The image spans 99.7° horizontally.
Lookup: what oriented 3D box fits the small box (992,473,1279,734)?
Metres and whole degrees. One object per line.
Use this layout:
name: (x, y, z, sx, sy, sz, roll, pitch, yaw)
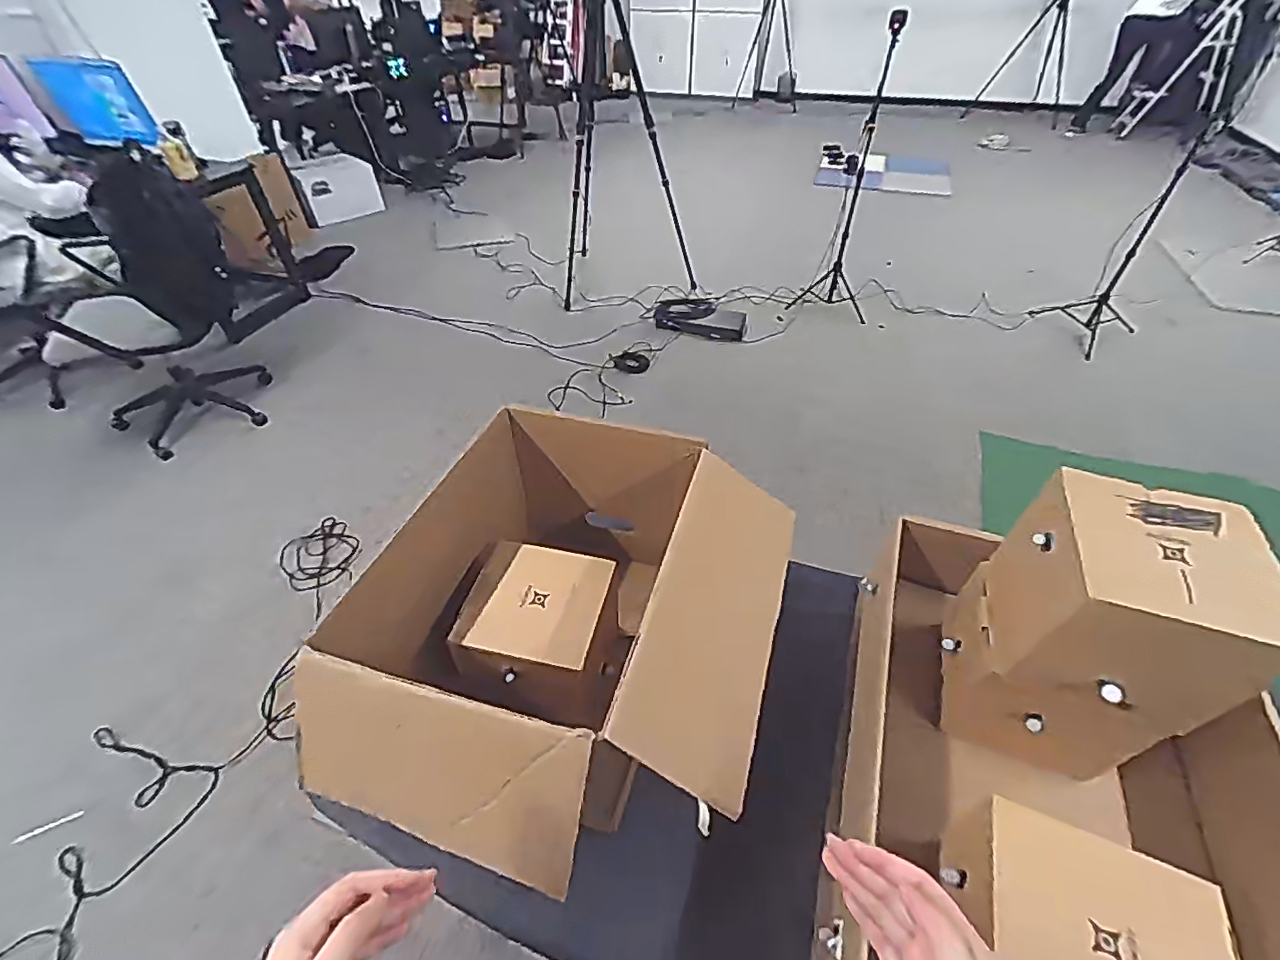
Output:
small box: (0.492, 0.126, 0.561, 0.168, 0.176, 0.179, 15, 48, 15)
